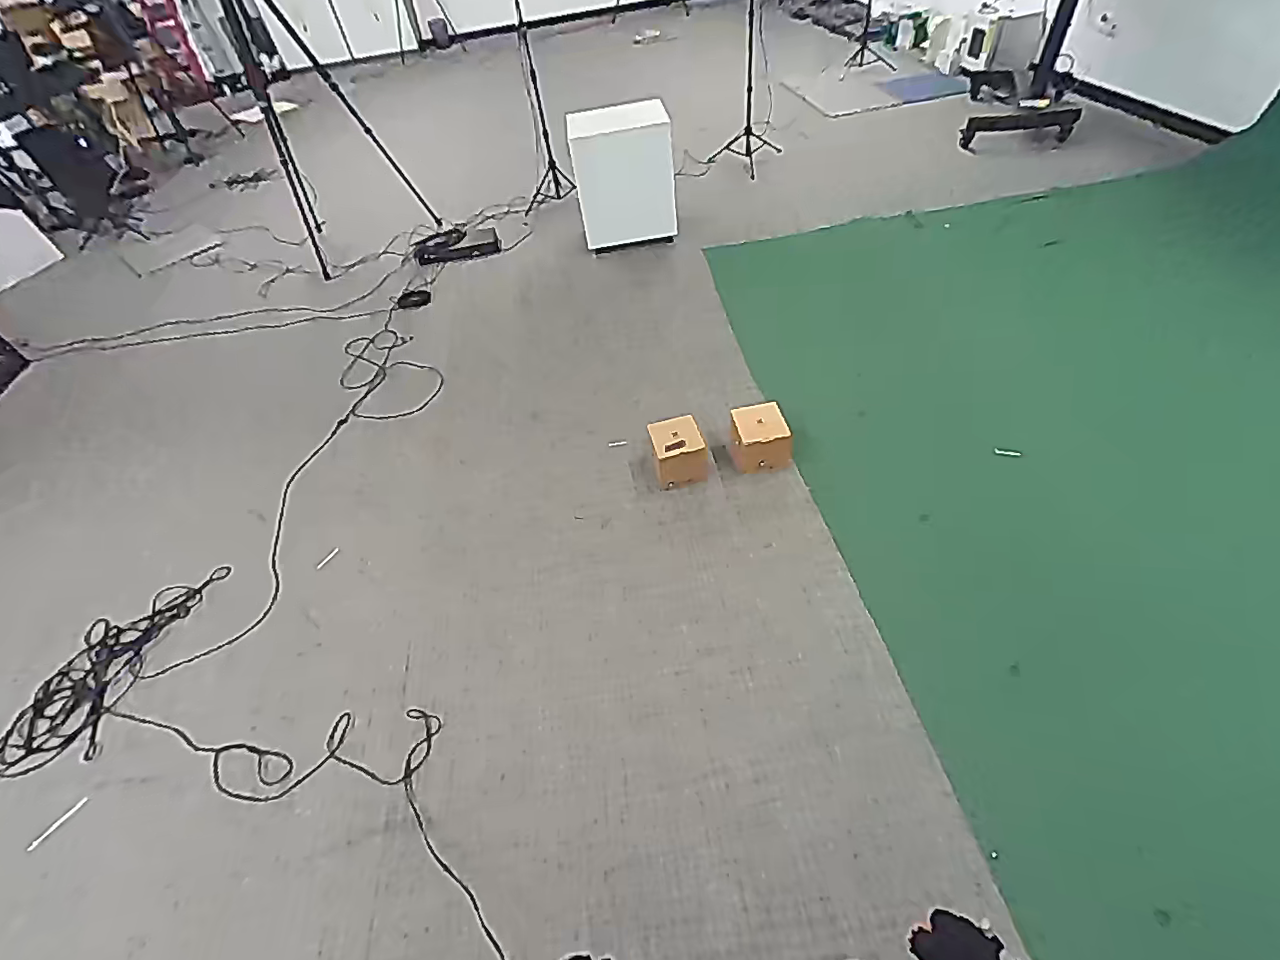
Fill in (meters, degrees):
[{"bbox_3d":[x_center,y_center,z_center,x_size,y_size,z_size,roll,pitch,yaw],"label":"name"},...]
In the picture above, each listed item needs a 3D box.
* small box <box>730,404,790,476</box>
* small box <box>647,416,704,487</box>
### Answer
[{"bbox_3d":[0.417,-0.141,1.915,0.168,0.176,0.179,-11,49,-1],"label":"small box"},{"bbox_3d":[0.128,-0.093,1.912,0.168,0.176,0.179,-13,48,-4],"label":"small box"}]
